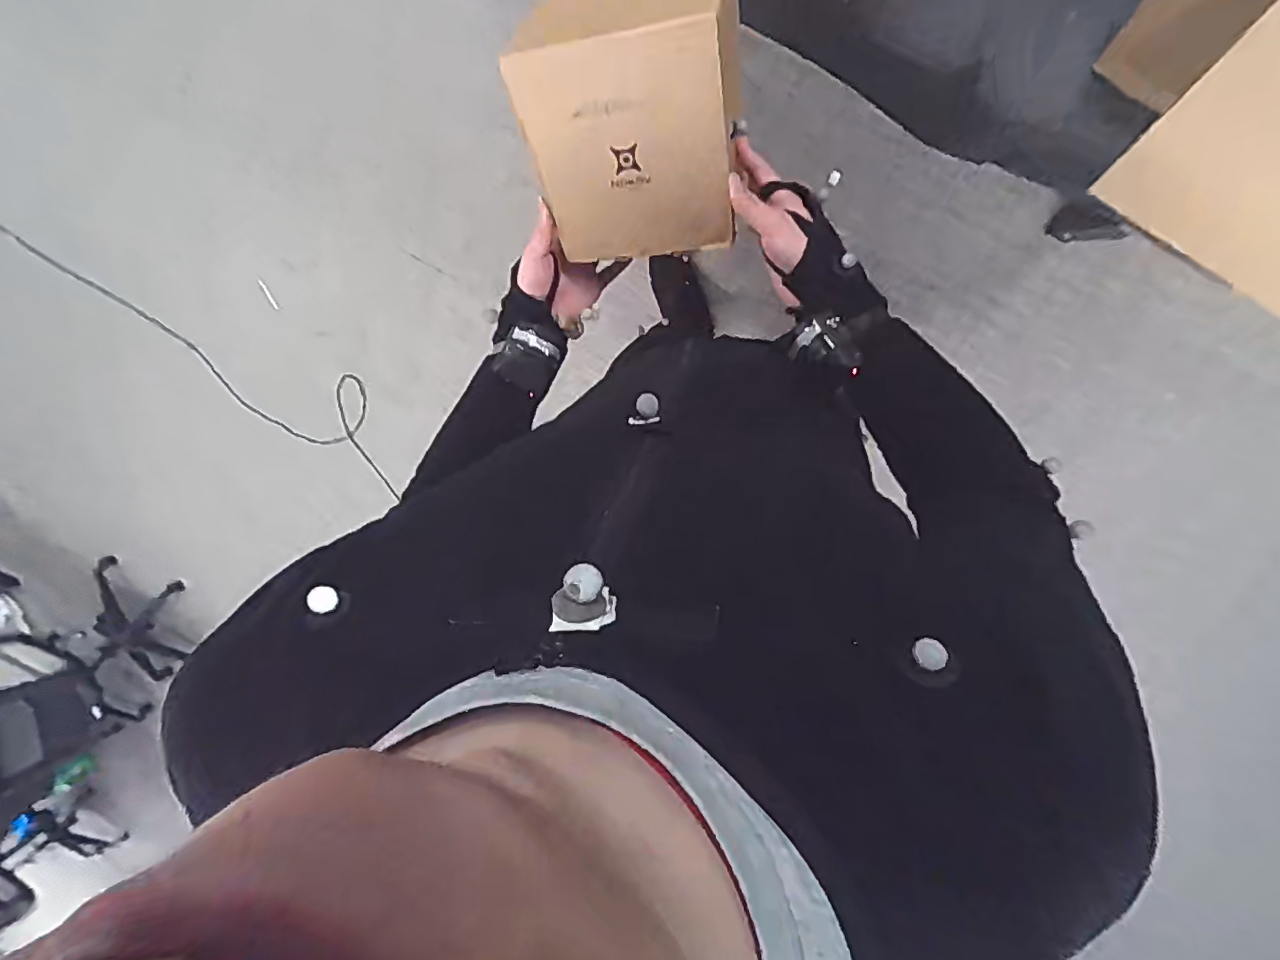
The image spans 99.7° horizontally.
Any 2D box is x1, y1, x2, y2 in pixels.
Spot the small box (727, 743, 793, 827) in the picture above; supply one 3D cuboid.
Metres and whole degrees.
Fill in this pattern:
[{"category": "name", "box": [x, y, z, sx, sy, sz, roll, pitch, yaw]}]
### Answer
[{"category": "small box", "box": [0.425, 1.081, 1.928, 0.168, 0.176, 0.179, 26, 116, 2]}]
